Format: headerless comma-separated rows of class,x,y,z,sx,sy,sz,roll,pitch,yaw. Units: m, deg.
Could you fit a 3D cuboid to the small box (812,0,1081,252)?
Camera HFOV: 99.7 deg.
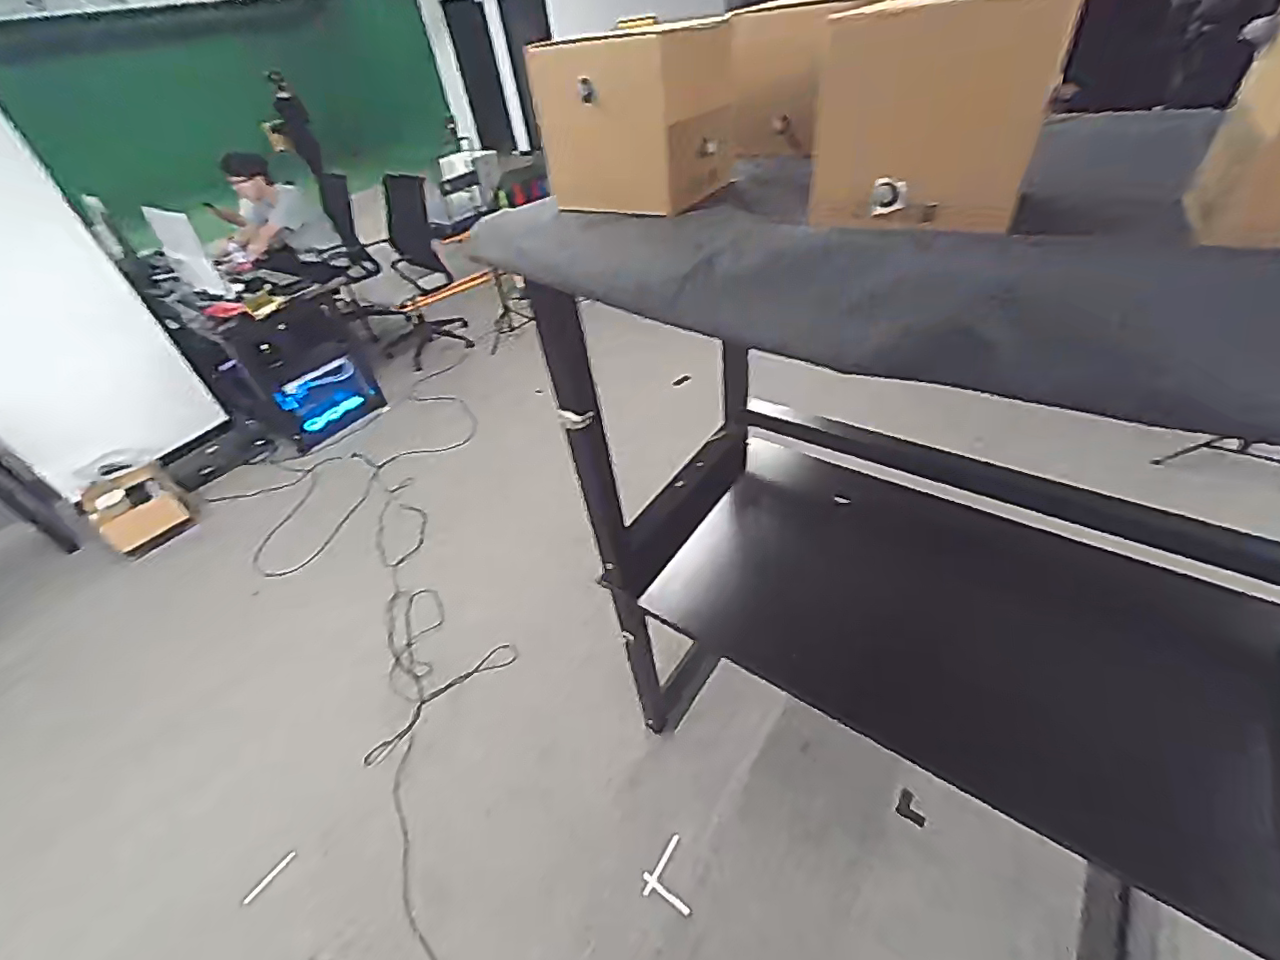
small box,0.263,-0.322,0.485,0.168,0.176,0.179,17,46,28

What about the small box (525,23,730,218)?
small box,-0.005,-0.427,0.649,0.179,0.176,0.168,19,47,27

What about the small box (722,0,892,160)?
small box,0.232,-0.568,0.769,0.179,0.176,0.168,20,49,28
